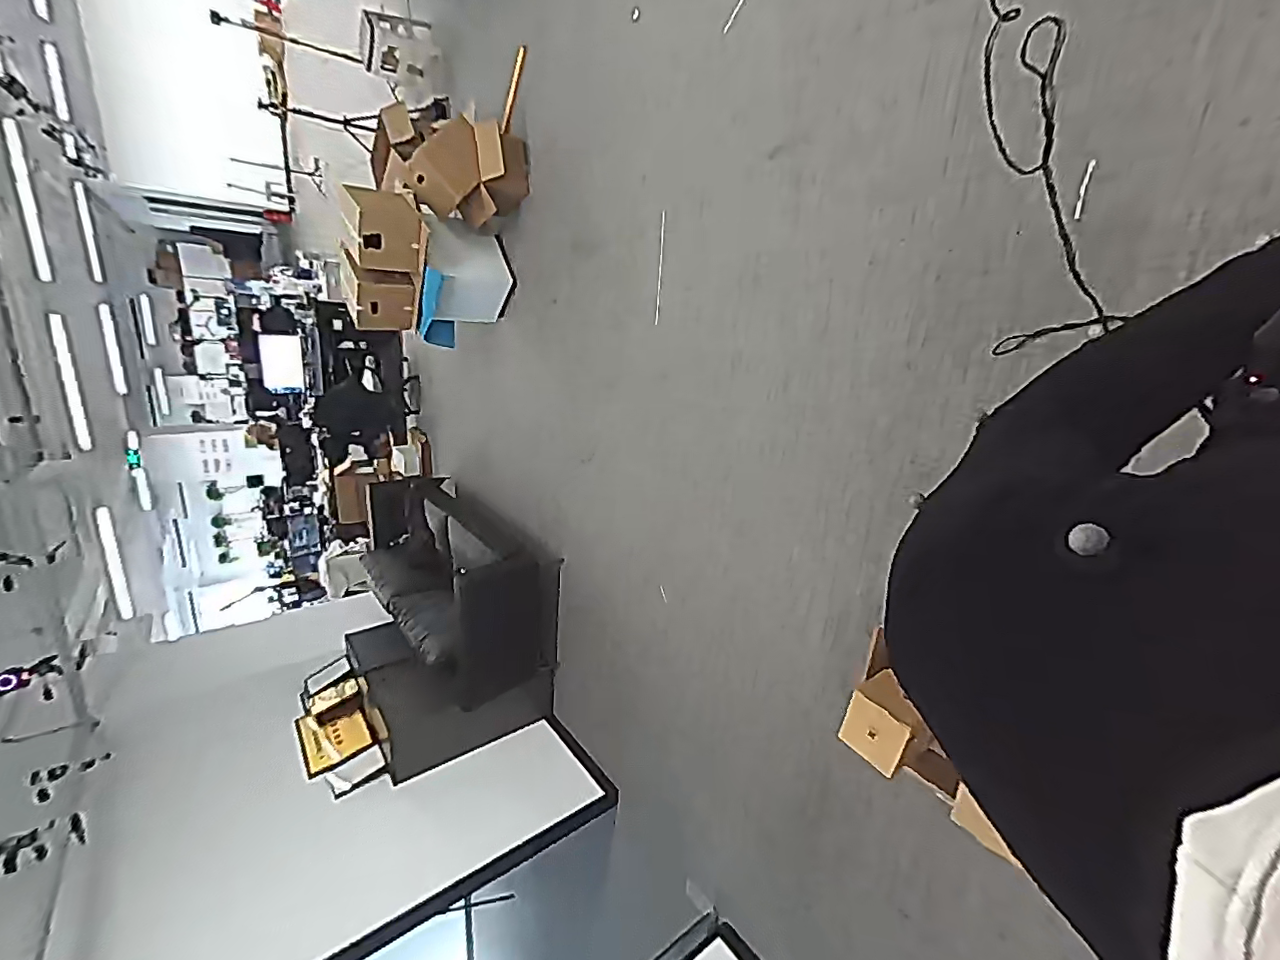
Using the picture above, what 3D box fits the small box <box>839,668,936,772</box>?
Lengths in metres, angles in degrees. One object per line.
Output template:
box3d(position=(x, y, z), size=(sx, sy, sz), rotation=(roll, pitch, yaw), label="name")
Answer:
box3d(position=(0.695, 0.665, 1.516), size=(0.168, 0.176, 0.179), rotation=(31, 120, 45), label="small box")
